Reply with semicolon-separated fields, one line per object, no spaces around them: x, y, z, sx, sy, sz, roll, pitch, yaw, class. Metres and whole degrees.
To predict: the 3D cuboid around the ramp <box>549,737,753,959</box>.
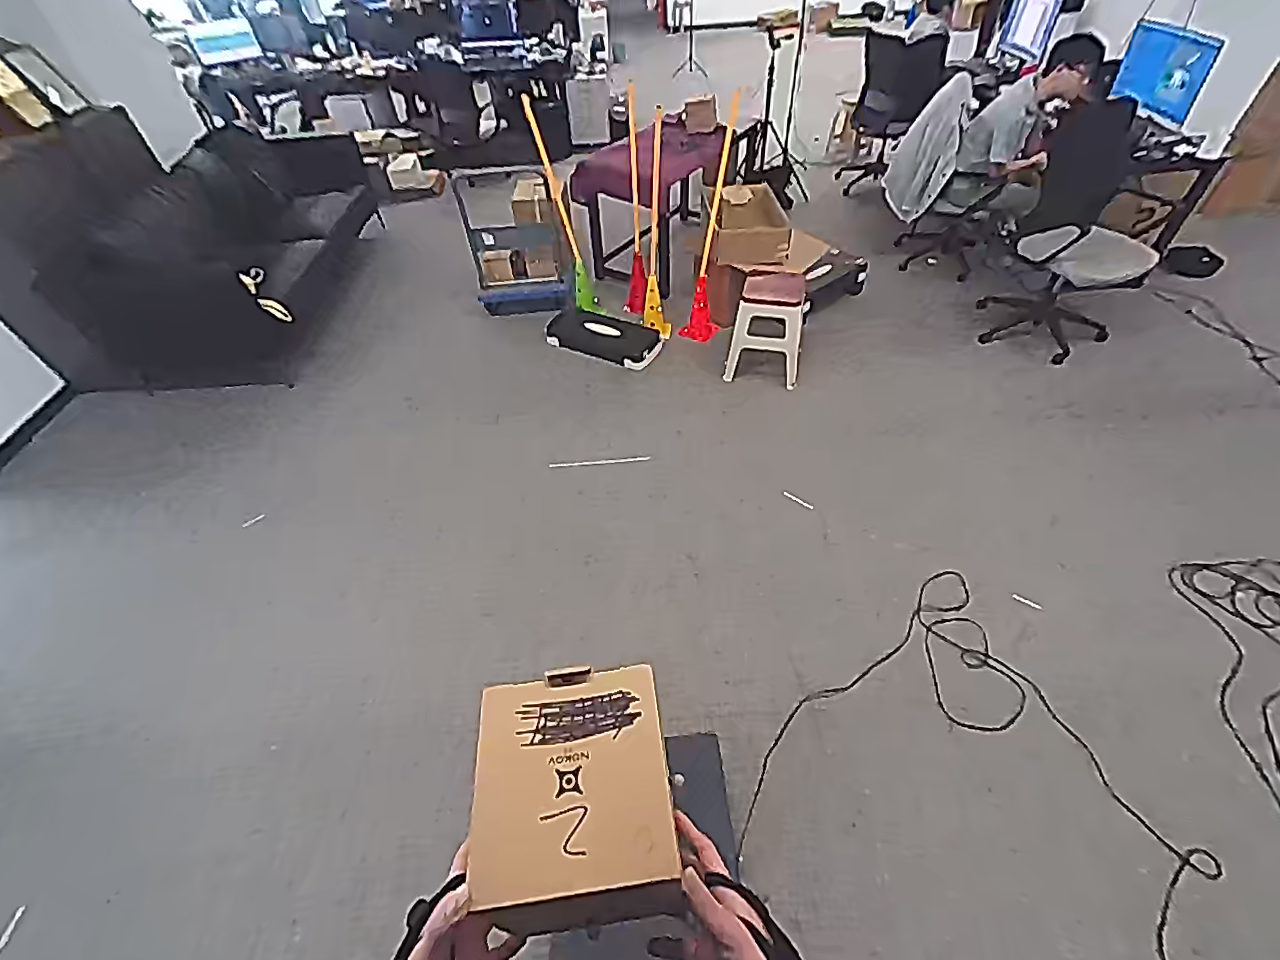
0.022;1.126;1.295;0.509;0.206;0.991;-6;47;0;ramp
